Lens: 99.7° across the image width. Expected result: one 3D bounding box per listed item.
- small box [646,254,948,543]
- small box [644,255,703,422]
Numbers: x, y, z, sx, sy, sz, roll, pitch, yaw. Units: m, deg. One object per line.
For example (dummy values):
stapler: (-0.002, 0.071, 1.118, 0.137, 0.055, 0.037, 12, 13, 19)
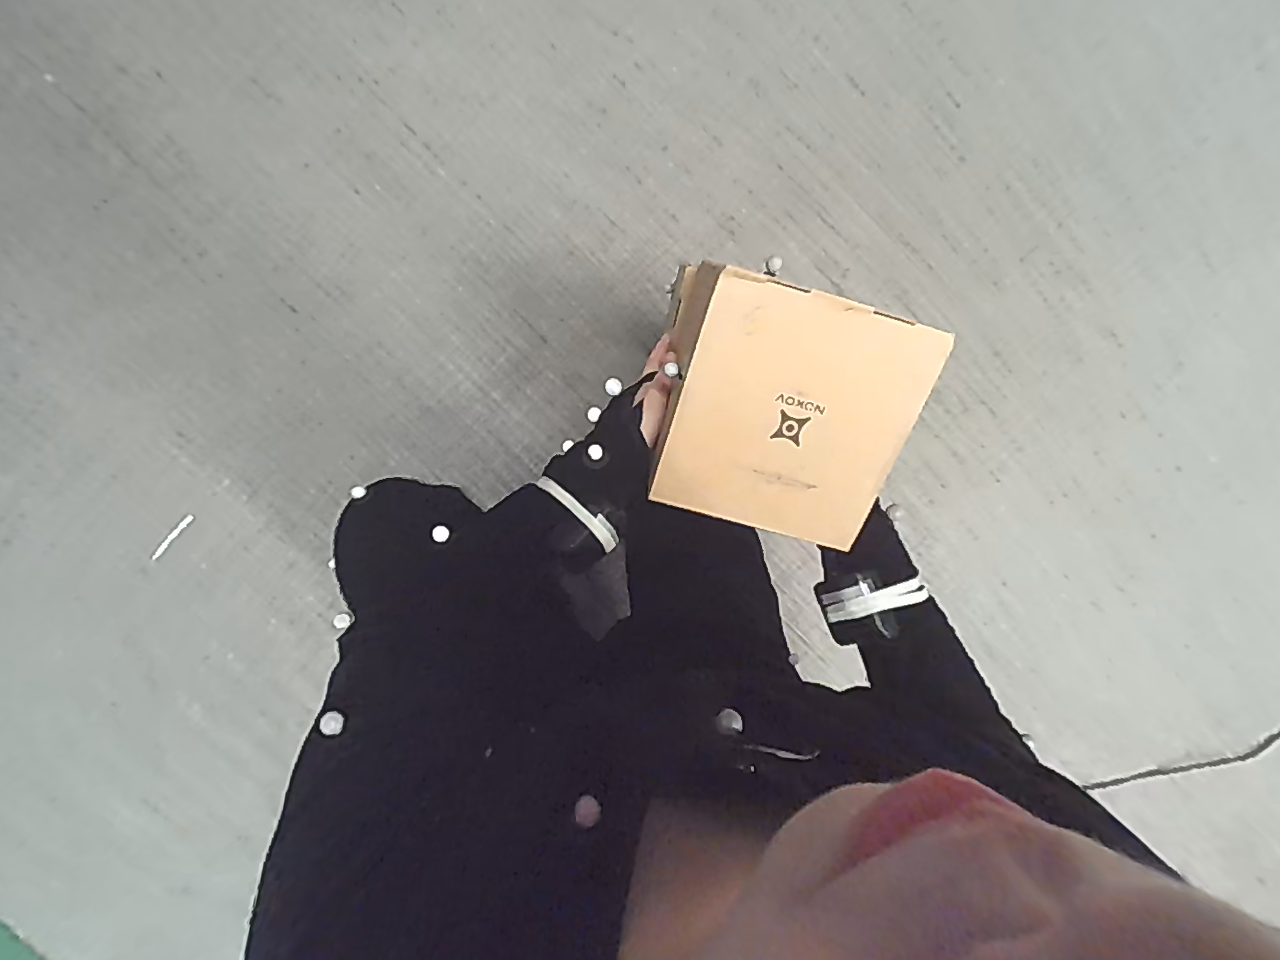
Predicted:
small box: (0.106, -0.079, 0.454, 0.168, 0.176, 0.179, 15, 114, -4)
small box: (0.108, -0.145, 0.604, 0.179, 0.176, 0.168, 12, 113, -4)
